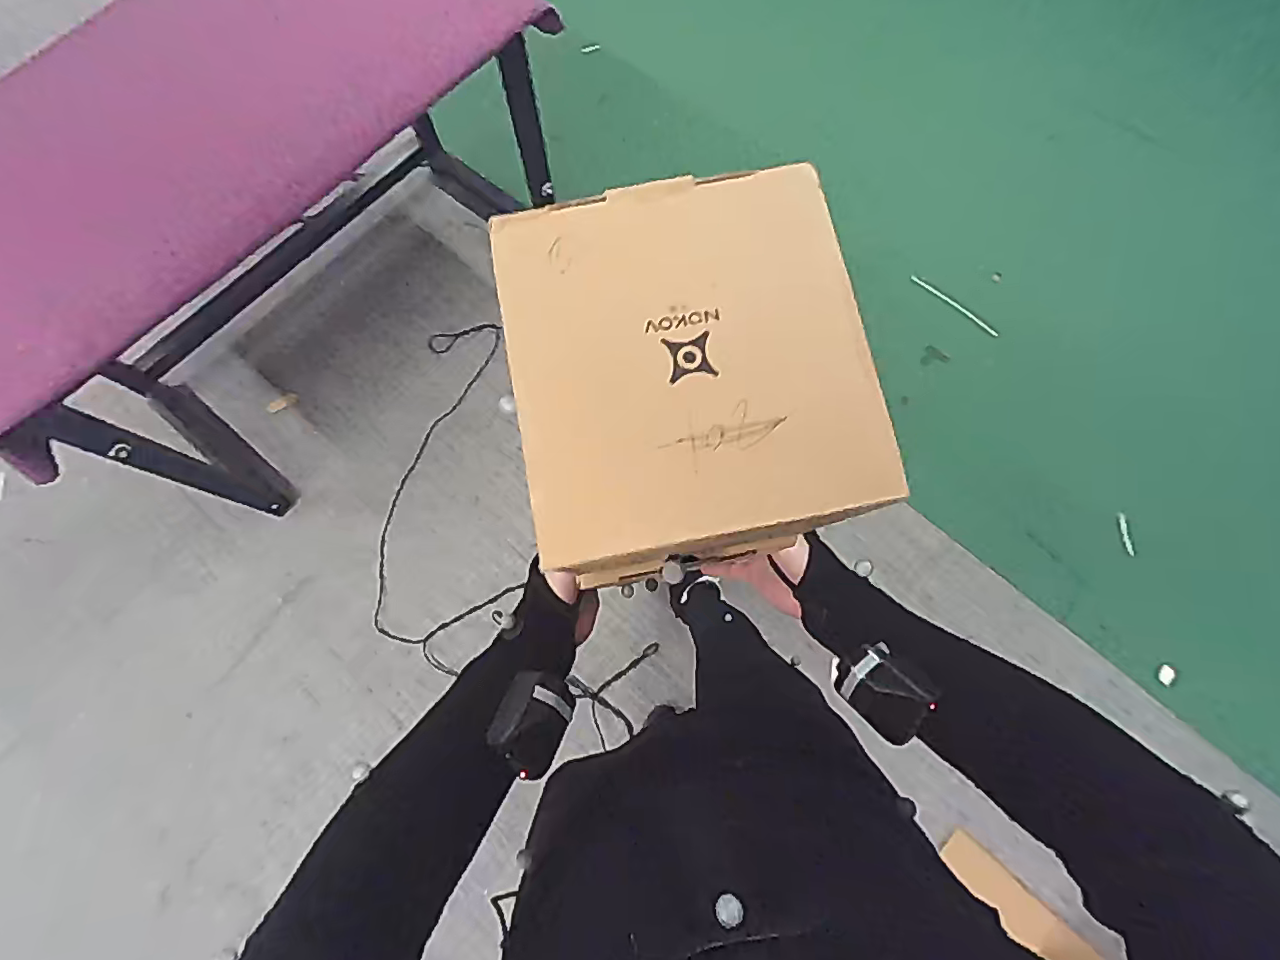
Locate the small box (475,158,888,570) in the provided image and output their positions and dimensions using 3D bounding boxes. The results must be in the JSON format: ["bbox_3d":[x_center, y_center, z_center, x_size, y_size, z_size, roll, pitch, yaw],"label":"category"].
[{"bbox_3d":[0.013,-0.048,0.327,0.168,0.176,0.179,-11,79,-2],"label":"small box"}]

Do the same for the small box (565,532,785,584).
[{"bbox_3d":[0.013,-0.009,0.486,0.168,0.176,0.179,-12,78,-2],"label":"small box"}]
